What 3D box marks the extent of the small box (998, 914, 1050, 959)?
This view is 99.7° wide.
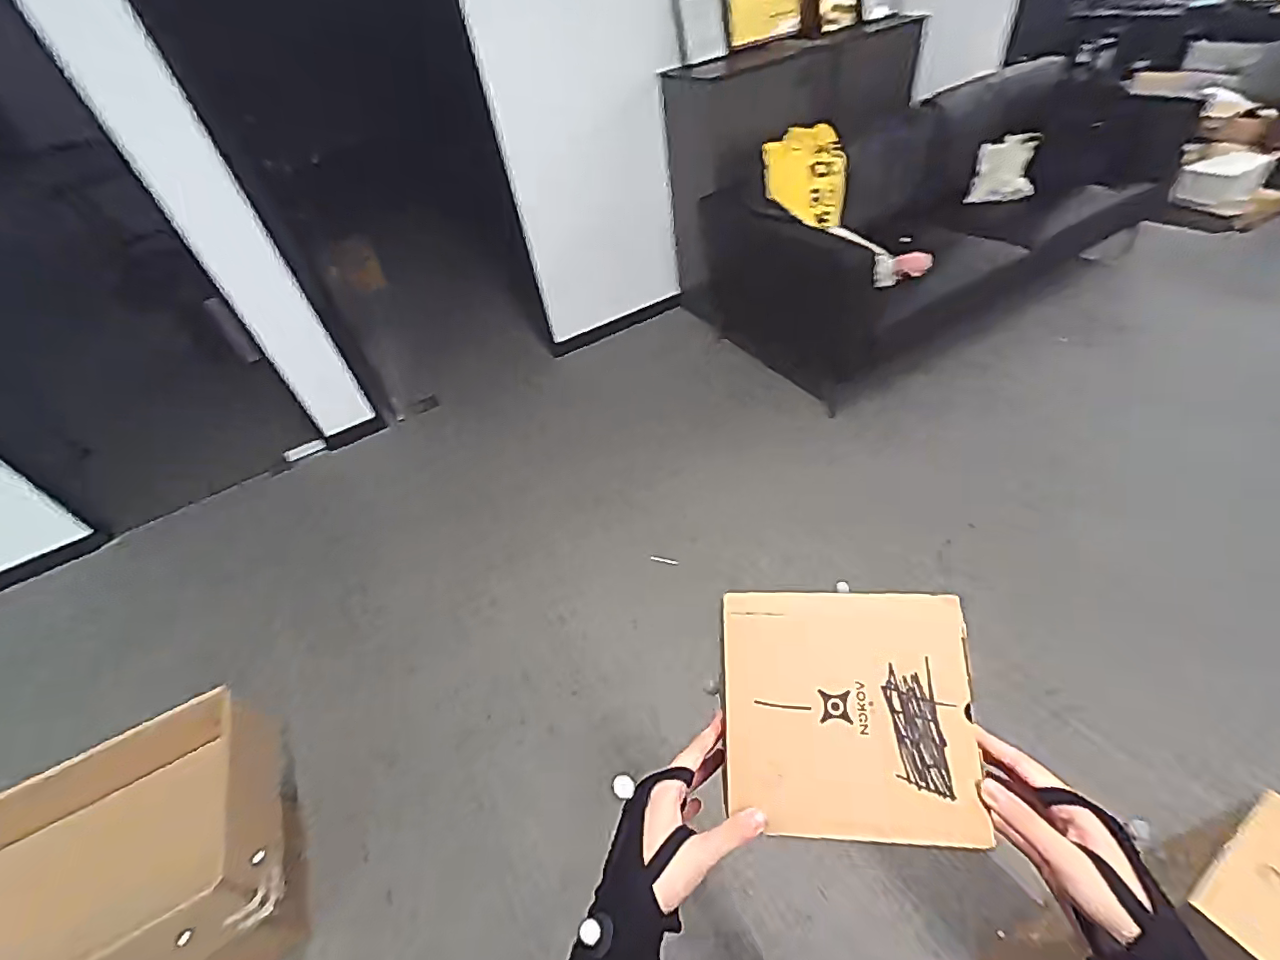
[{"bbox_3d":[0.778,0.920,0.972,0.168,0.176,0.179,-28,46,-16],"label":"small box"}]

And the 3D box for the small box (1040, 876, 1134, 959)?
[{"bbox_3d":[0.714,0.689,0.748,0.168,0.176,0.179,-29,46,-17],"label":"small box"}]

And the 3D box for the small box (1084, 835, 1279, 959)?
[{"bbox_3d":[0.683,0.572,0.640,0.179,0.176,0.168,-30,45,-16],"label":"small box"}]

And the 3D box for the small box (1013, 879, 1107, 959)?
[{"bbox_3d":[0.749,0.797,0.867,0.168,0.176,0.179,-28,45,-15],"label":"small box"}]
